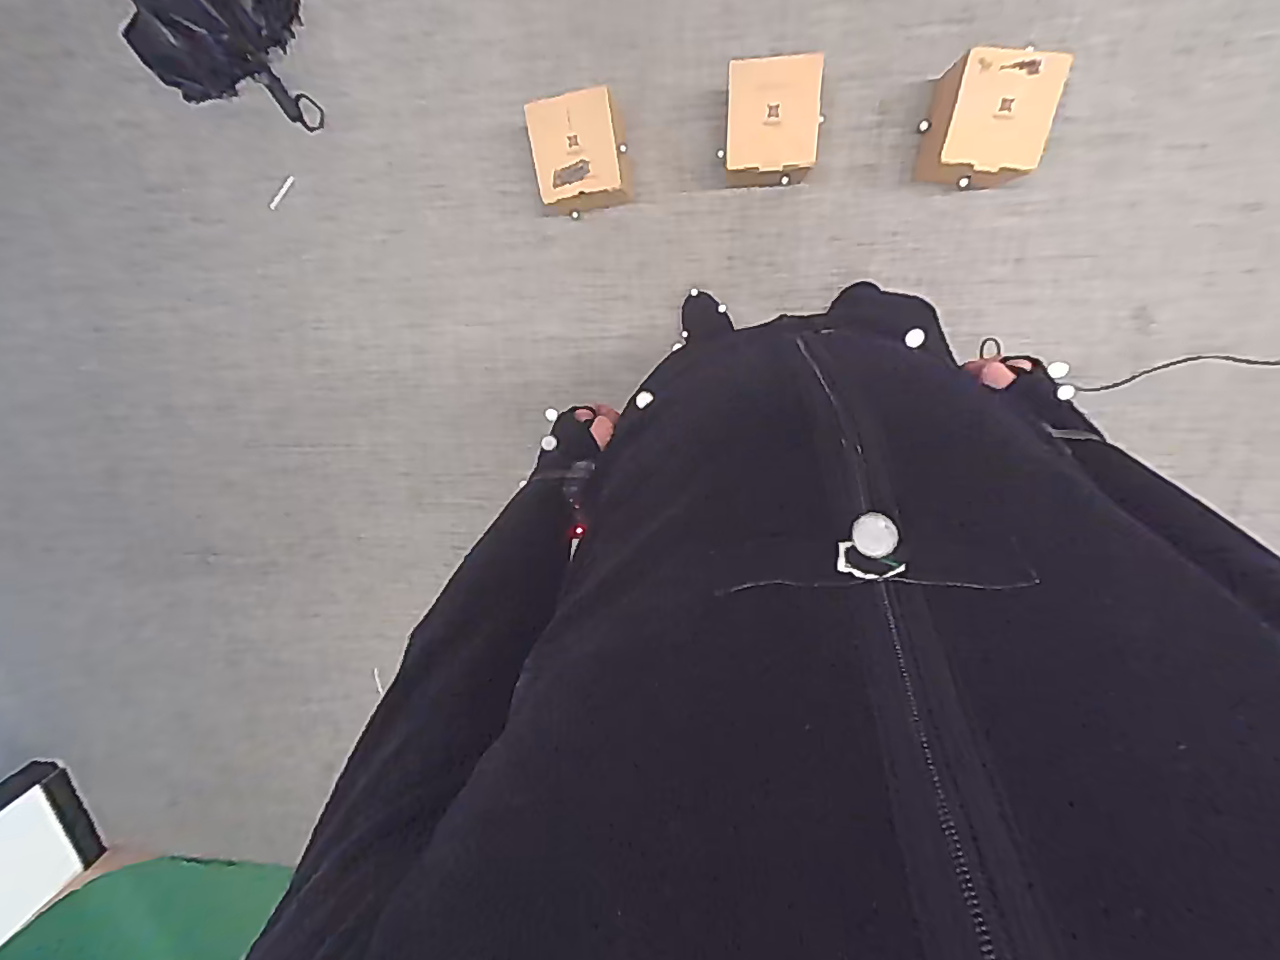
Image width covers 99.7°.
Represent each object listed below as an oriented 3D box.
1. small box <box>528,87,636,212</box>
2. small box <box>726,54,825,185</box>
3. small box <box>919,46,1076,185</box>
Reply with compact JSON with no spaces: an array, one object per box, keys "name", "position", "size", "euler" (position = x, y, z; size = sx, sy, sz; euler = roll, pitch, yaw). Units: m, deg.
[{"name":"small box","position":[-0.110,-0.663,1.111],"size":[0.168,0.176,0.179],"euler":[-7,107,10]},{"name":"small box","position":[0.256,-0.686,1.052],"size":[0.168,0.176,0.179],"euler":[0,108,7]},{"name":"small box","position":[0.642,-0.661,1.001],"size":[0.168,0.176,0.179],"euler":[10,111,6]}]
